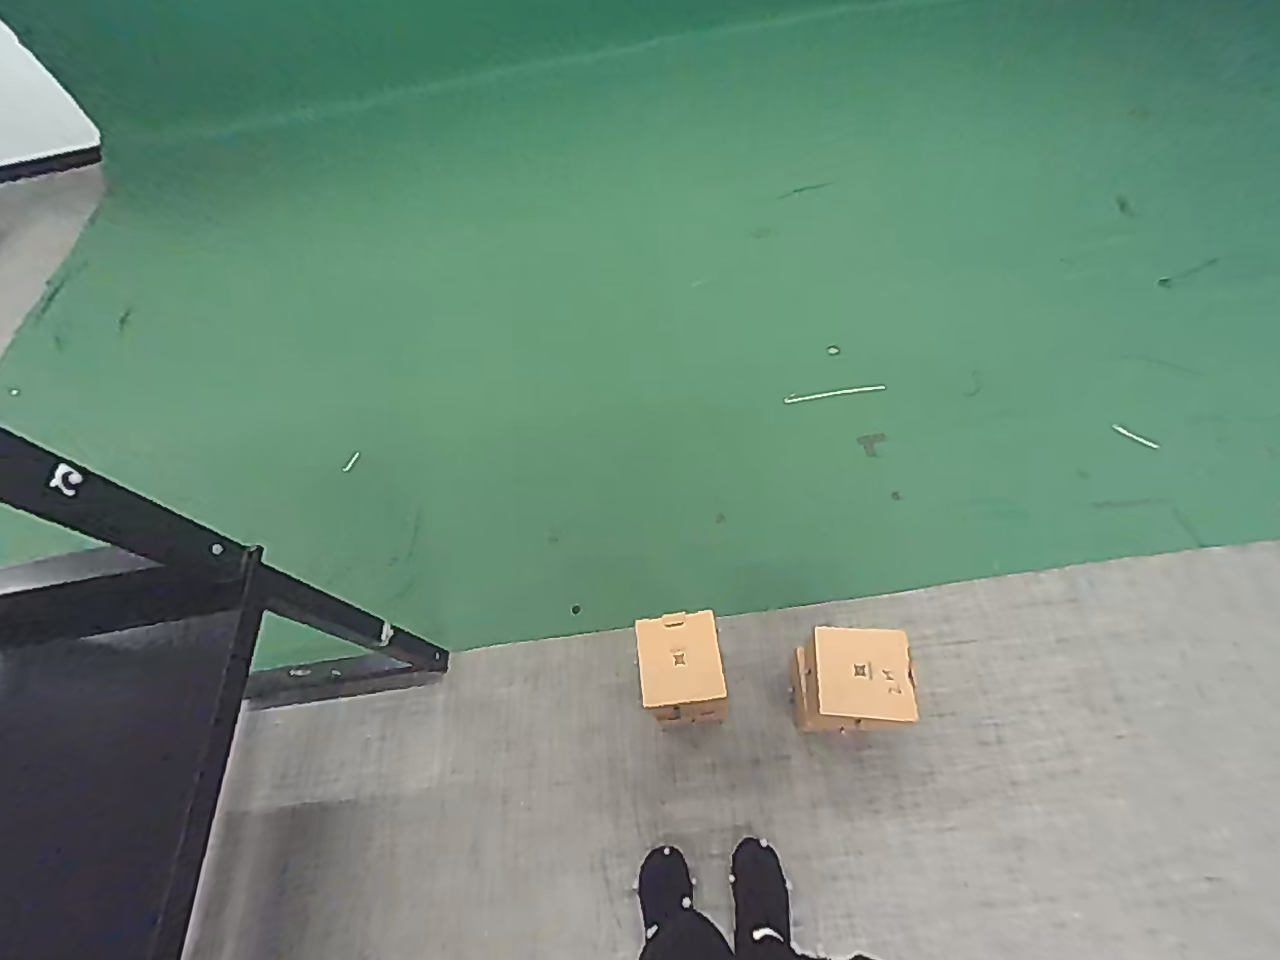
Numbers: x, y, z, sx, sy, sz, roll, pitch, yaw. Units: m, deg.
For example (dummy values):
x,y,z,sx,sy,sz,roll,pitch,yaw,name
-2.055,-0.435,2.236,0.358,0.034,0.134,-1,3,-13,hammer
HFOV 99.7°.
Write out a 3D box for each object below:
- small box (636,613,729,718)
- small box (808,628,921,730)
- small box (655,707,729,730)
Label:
x,y,z,sx,sy,sz,roll,pitch,yaw,name
0.092,0.398,1.140,0.168,0.176,0.179,-10,58,4,small box
0.436,0.402,1.083,0.179,0.176,0.168,1,62,9,small box
0.115,0.484,1.276,0.168,0.176,0.179,-11,59,3,small box
